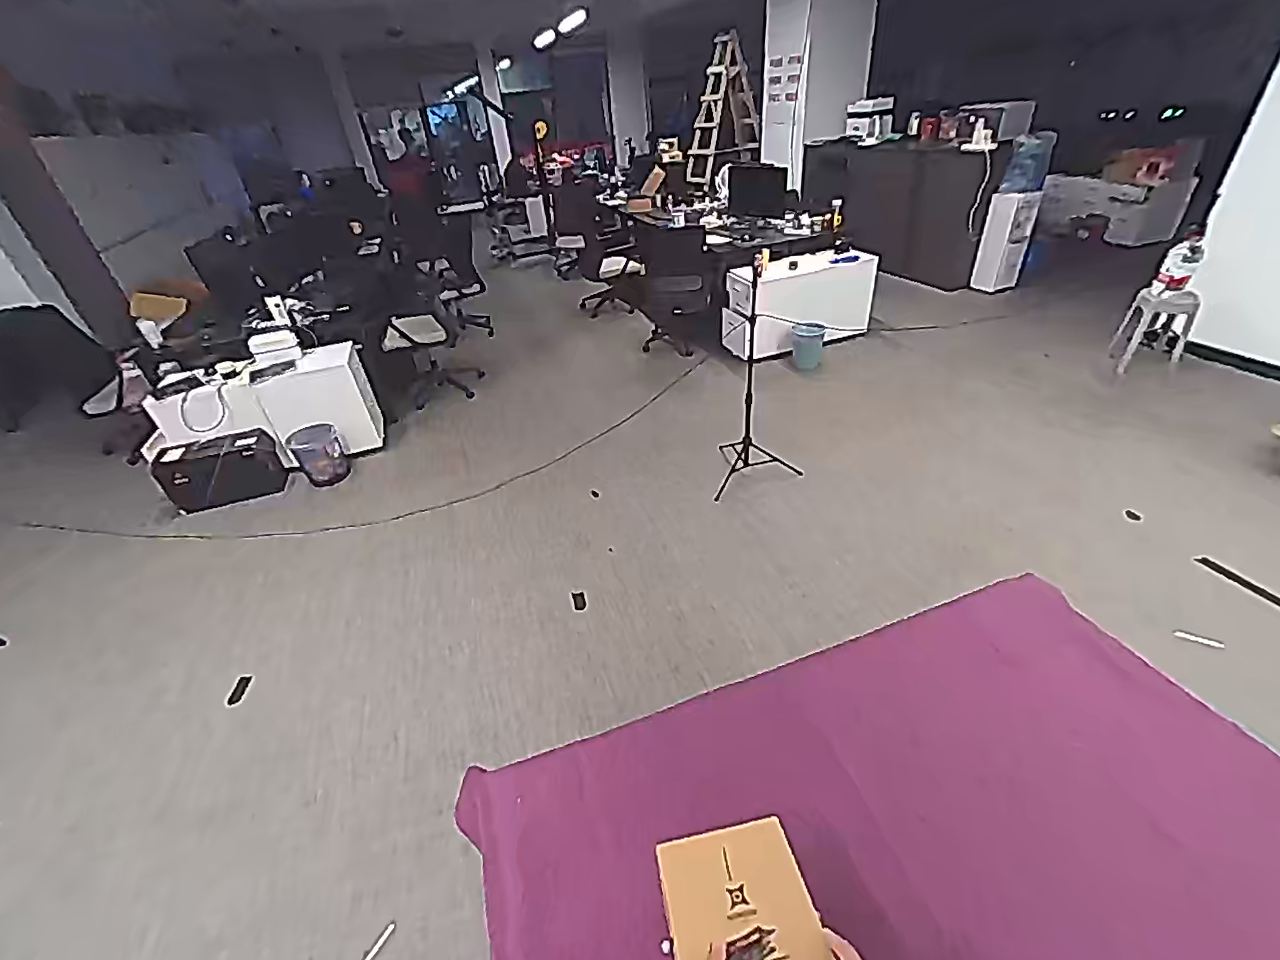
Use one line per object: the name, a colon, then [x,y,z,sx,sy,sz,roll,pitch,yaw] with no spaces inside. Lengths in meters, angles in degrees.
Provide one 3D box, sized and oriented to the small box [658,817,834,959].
small box: [0.125,0.562,0.658,0.168,0.176,0.179,-10,29,-6]
